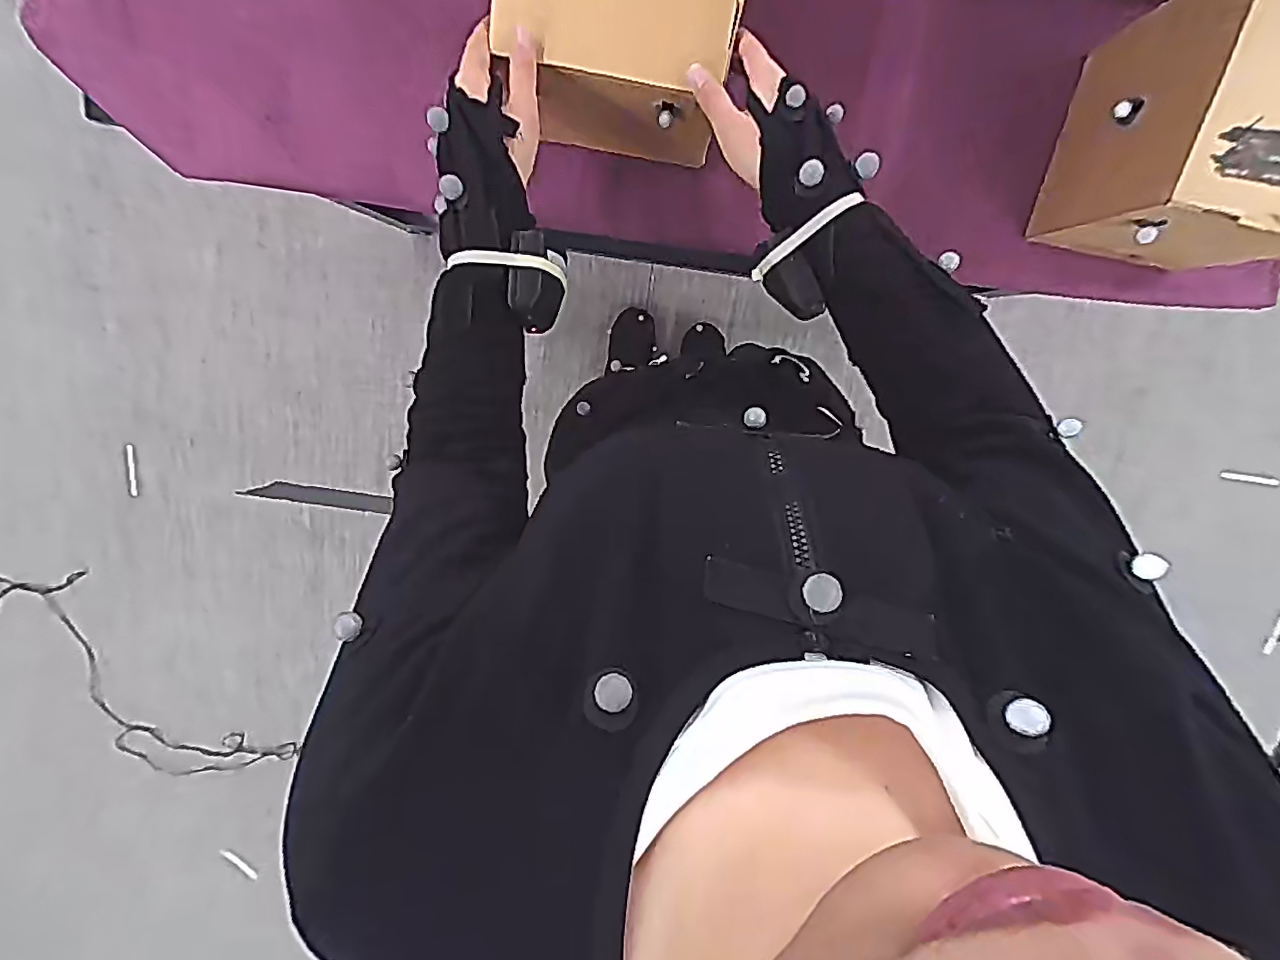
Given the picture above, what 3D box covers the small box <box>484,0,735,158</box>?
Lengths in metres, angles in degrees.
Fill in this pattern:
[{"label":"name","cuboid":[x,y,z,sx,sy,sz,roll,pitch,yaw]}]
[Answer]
[{"label":"small box","cuboid":[-0.014,-0.393,0.450,0.179,0.176,0.168,8,104,-3]}]
